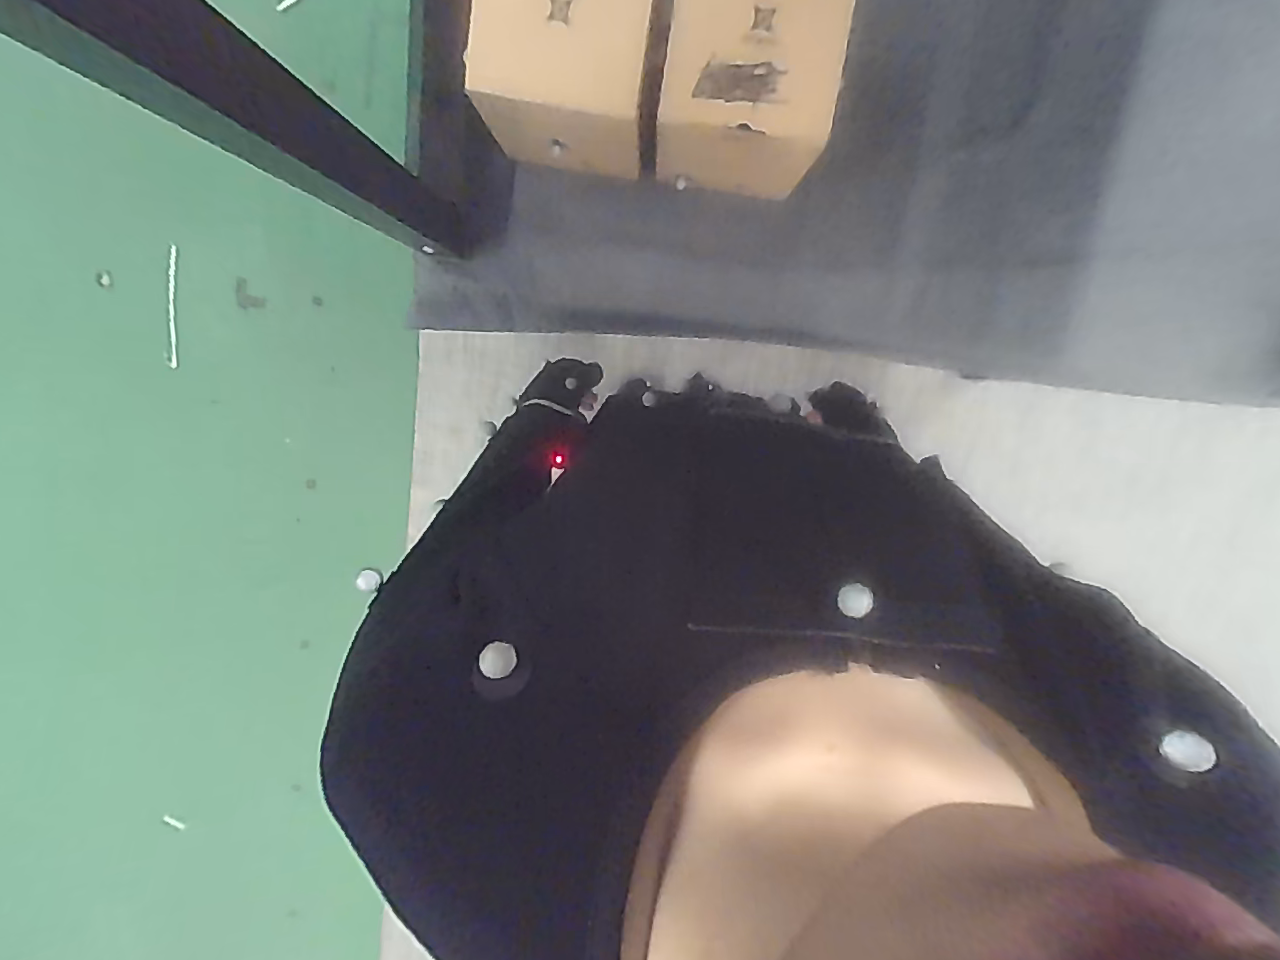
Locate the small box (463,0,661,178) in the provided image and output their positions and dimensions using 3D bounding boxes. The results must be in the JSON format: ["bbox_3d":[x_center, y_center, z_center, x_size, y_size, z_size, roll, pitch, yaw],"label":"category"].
[{"bbox_3d":[-0.071,-0.448,0.570,0.168,0.176,0.179,10,101,-2],"label":"small box"}]
